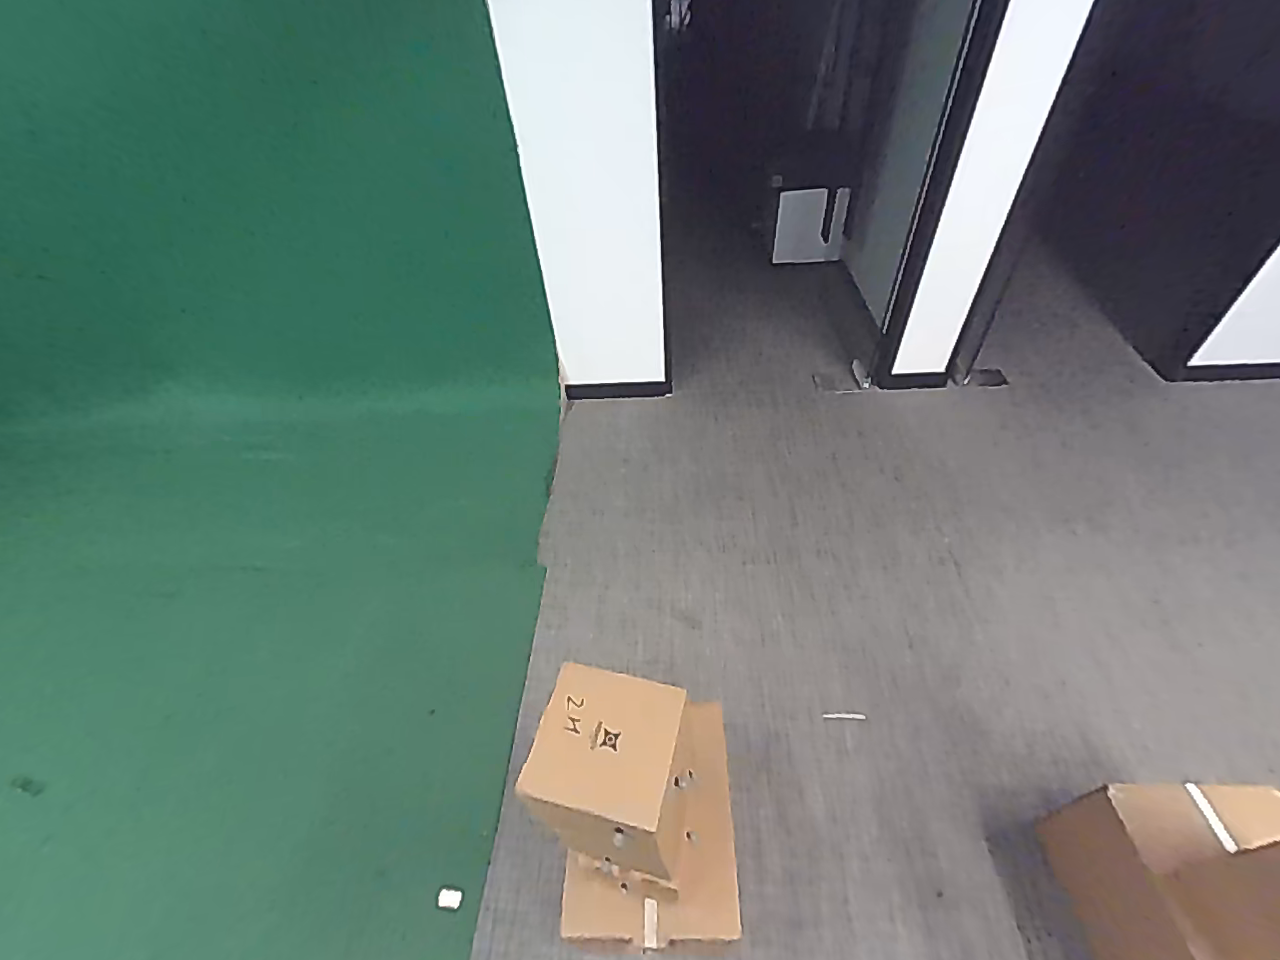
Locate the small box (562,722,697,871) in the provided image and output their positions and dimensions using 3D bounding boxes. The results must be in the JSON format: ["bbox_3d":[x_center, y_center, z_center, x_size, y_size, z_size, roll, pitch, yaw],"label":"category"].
[{"bbox_3d":[-0.007,0.479,0.850,0.168,0.176,0.179,7,48,14],"label":"small box"}]

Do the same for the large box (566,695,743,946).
[{"bbox_3d":[0.037,0.730,1.168,0.320,0.320,0.408,-2,45,4],"label":"large box"}]

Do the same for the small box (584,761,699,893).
[{"bbox_3d":[0.011,0.599,0.959,0.168,0.176,0.179,5,47,12],"label":"small box"}]

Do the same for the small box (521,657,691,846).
[{"bbox_3d":[-0.031,0.369,0.730,0.179,0.176,0.168,8,48,15],"label":"small box"}]
